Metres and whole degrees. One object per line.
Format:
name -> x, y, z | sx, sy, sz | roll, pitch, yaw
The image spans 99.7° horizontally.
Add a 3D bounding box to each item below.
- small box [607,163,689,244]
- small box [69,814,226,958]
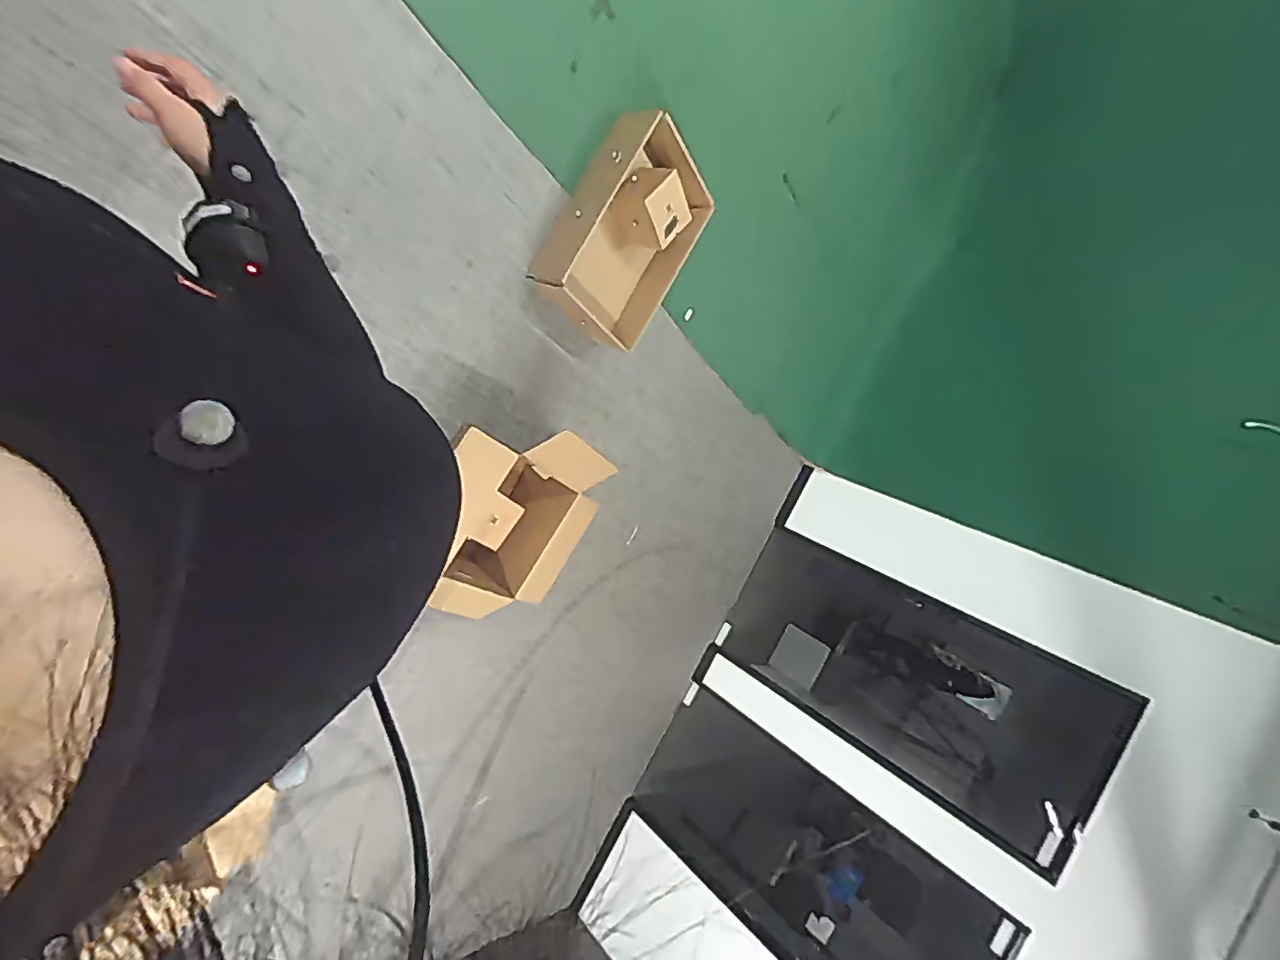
small box -> 0.026, -0.900, 1.752 | 0.168, 0.176, 0.179 | -51, 143, -14
small box -> -1.032, 0.842, 1.132 | 0.179, 0.176, 0.168 | -50, 141, -20
